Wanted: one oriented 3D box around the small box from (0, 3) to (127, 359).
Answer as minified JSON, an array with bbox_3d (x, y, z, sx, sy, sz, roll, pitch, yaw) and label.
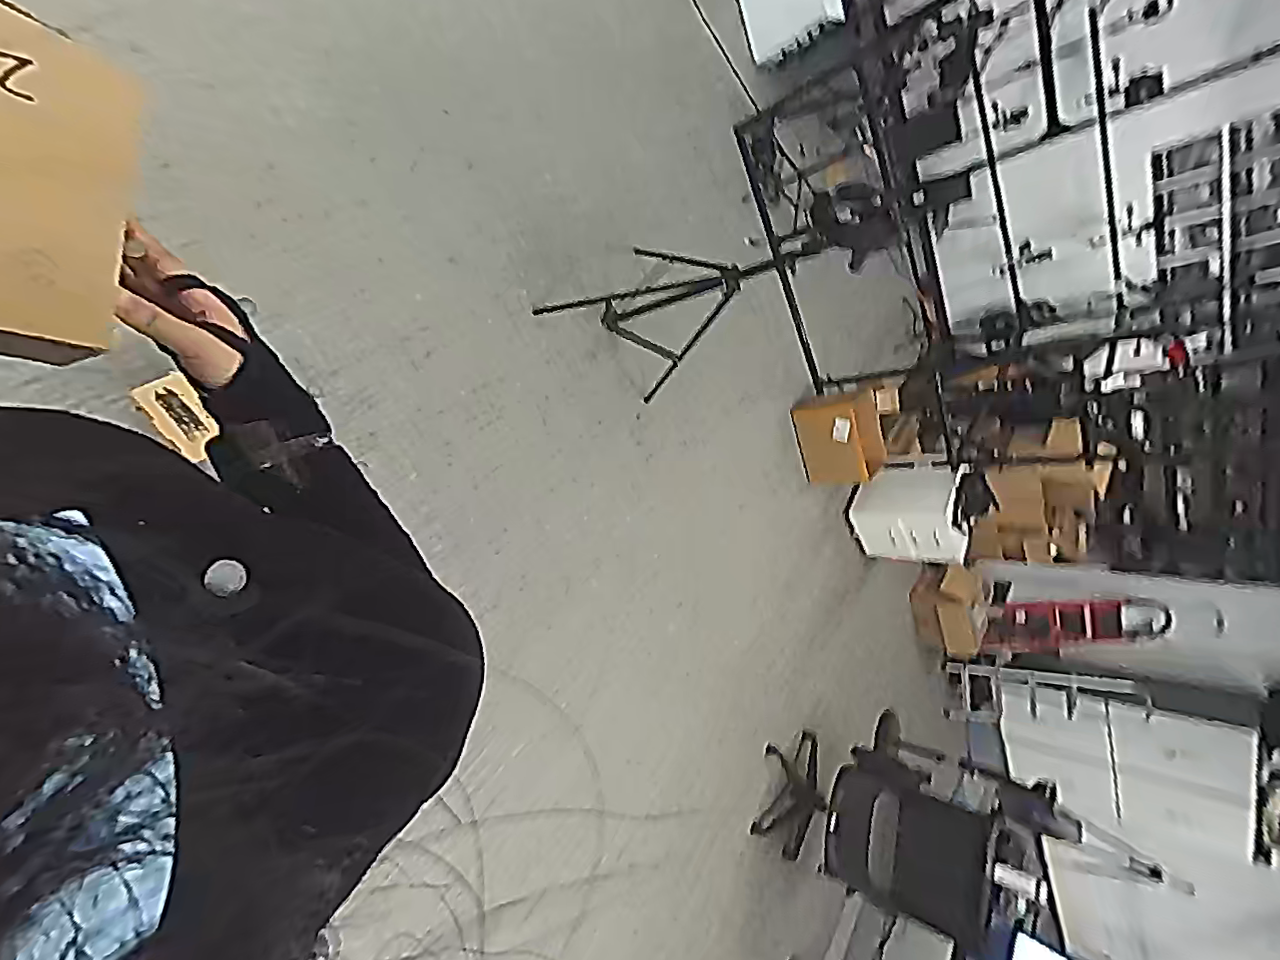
[{"bbox_3d":[-0.429,-0.174,0.306,0.168,0.176,0.179,6,88,-54],"label":"small box"}]
